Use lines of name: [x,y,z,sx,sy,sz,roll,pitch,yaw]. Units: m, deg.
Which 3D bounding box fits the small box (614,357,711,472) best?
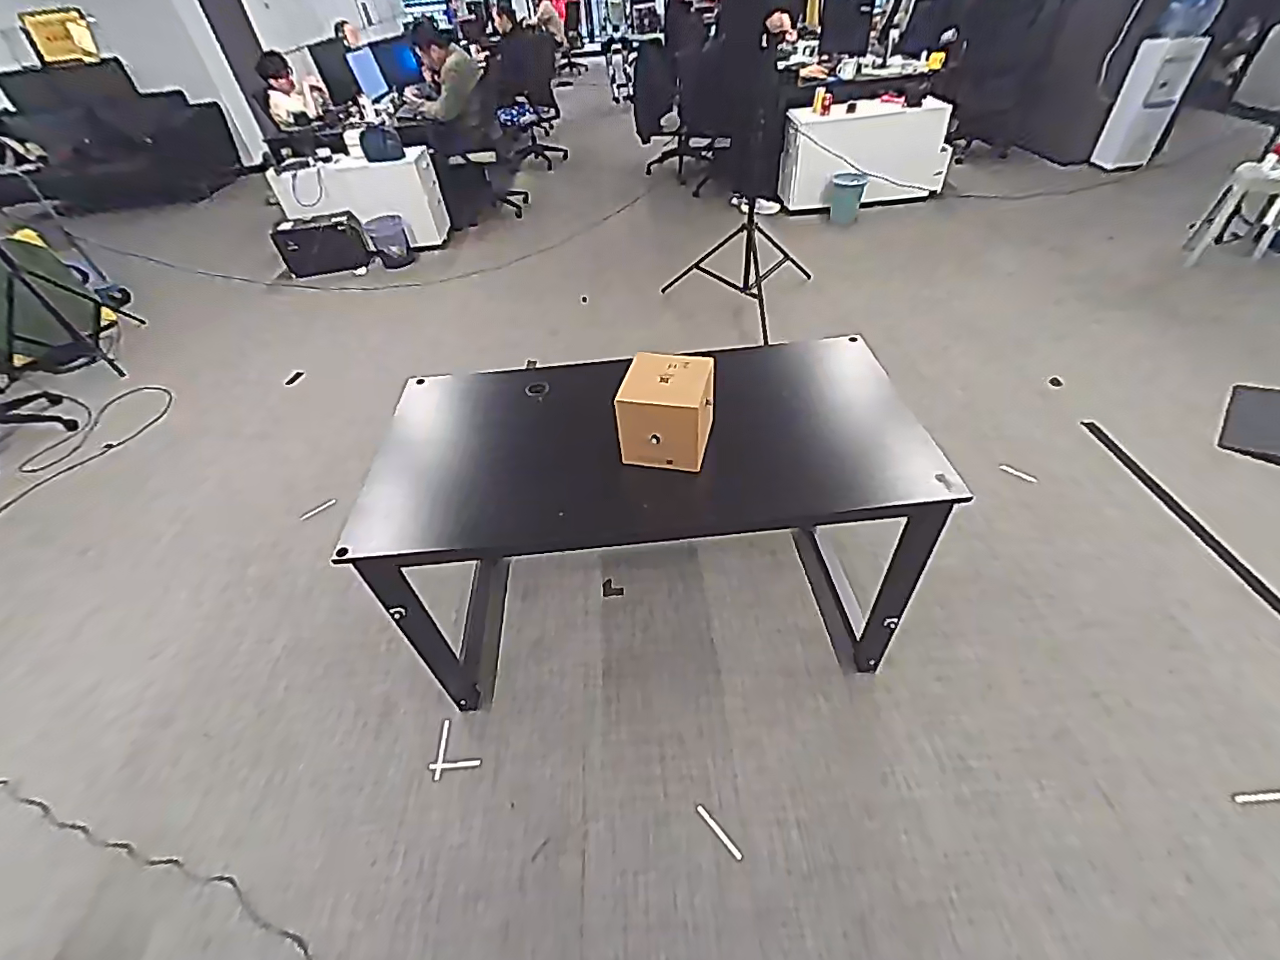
small box: [0.056,-0.136,1.140,0.168,0.176,0.179,8,45,13]
